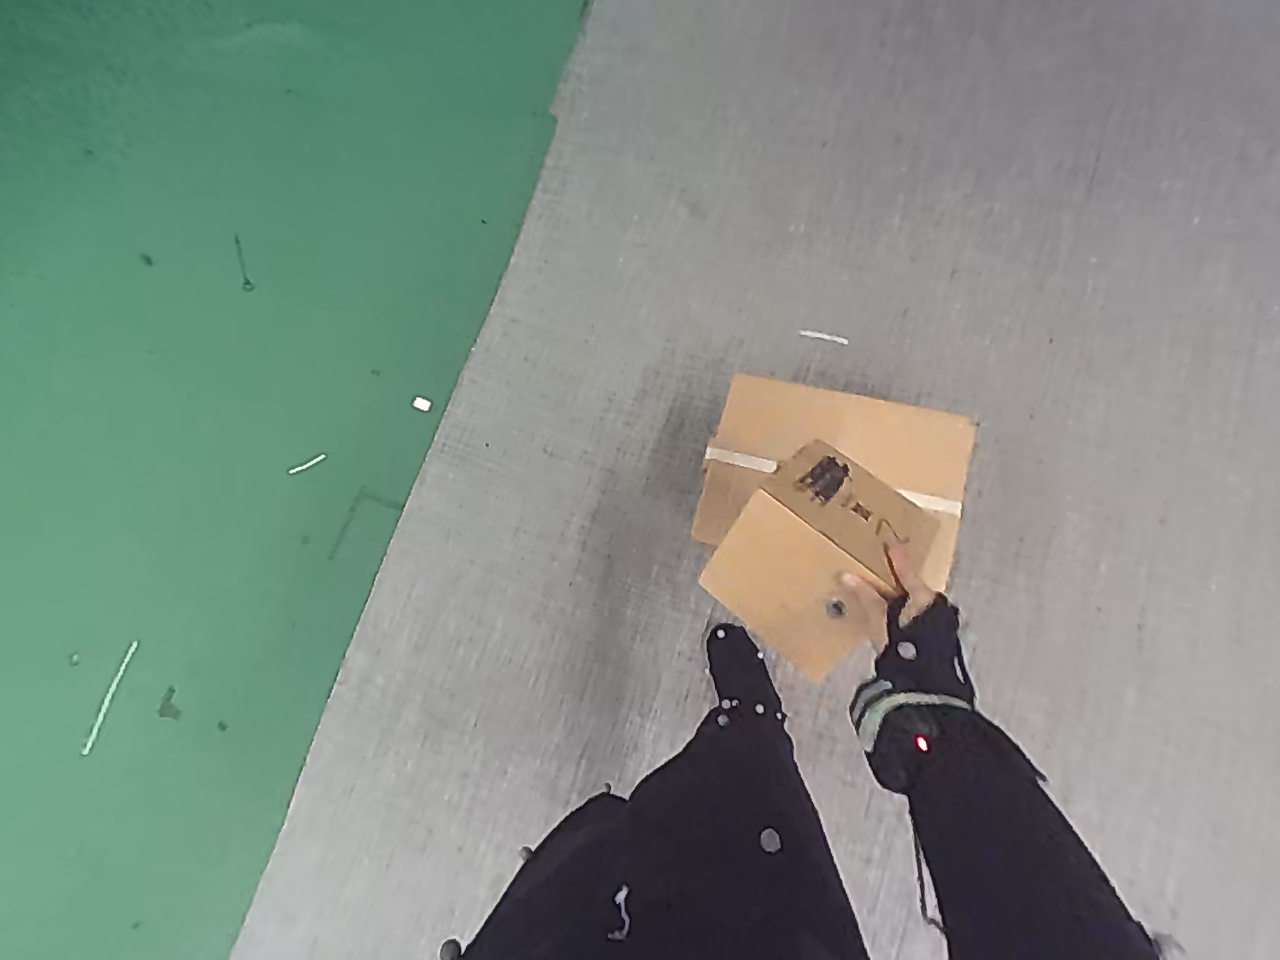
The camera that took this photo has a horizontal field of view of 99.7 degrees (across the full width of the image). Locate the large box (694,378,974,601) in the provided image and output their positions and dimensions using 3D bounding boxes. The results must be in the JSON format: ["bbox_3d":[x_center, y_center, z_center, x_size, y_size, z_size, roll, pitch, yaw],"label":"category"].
[{"bbox_3d":[0.344,0.032,1.044,0.408,0.320,0.320,14,82,14],"label":"large box"}]
